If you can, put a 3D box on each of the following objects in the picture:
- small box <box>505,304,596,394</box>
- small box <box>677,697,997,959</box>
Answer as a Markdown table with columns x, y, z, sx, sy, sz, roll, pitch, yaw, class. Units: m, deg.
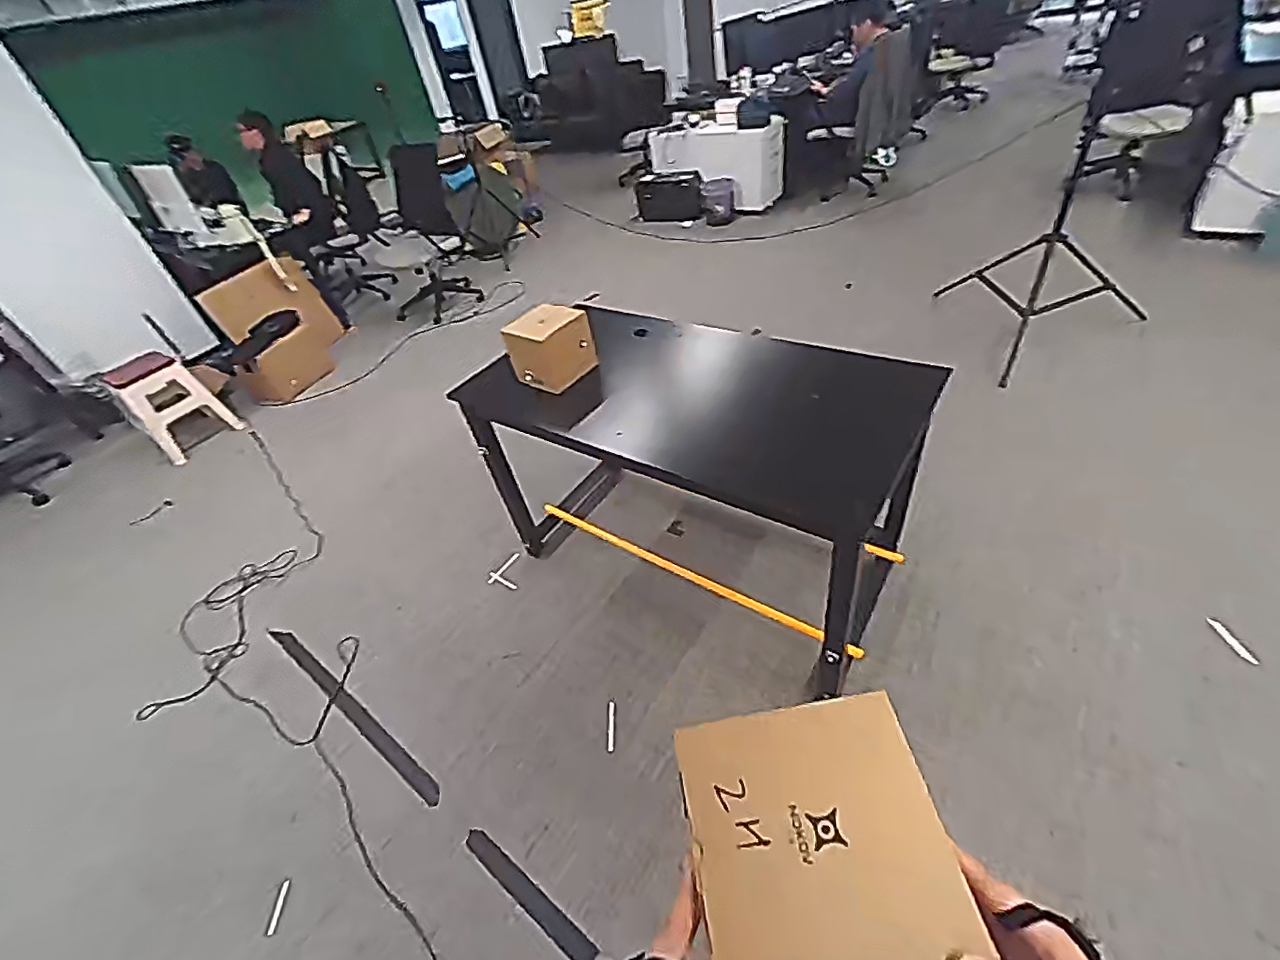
| x | y | z | sx | sy | sz | roll | pitch | yaw | class |
| --- | --- | --- | --- | --- | --- | --- | --- | --- | --- |
| -0.240 | -0.367 | 1.514 | 0.168 | 0.176 | 0.179 | 21 | 52 | 33 | small box |
| 0.133 | 0.298 | 0.441 | 0.179 | 0.176 | 0.168 | -11 | 50 | 0 | small box |
